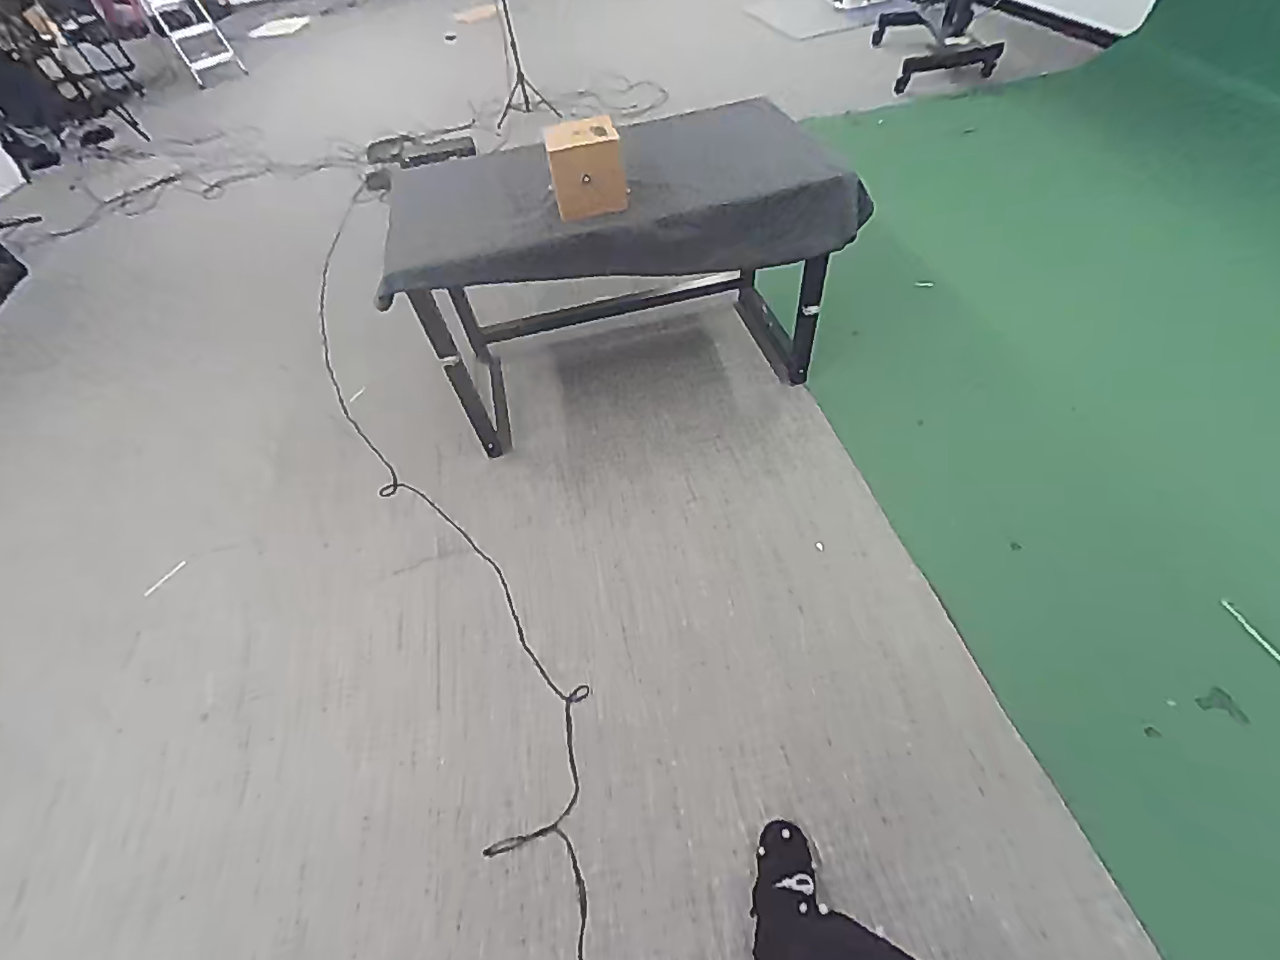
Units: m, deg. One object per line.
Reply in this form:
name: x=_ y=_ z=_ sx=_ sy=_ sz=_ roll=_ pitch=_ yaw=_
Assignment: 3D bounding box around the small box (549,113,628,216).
small box: x=-0.126 y=-0.796 z=1.369 sx=0.179 sy=0.176 sz=0.168 roll=-10 pitch=50 yaw=-1
